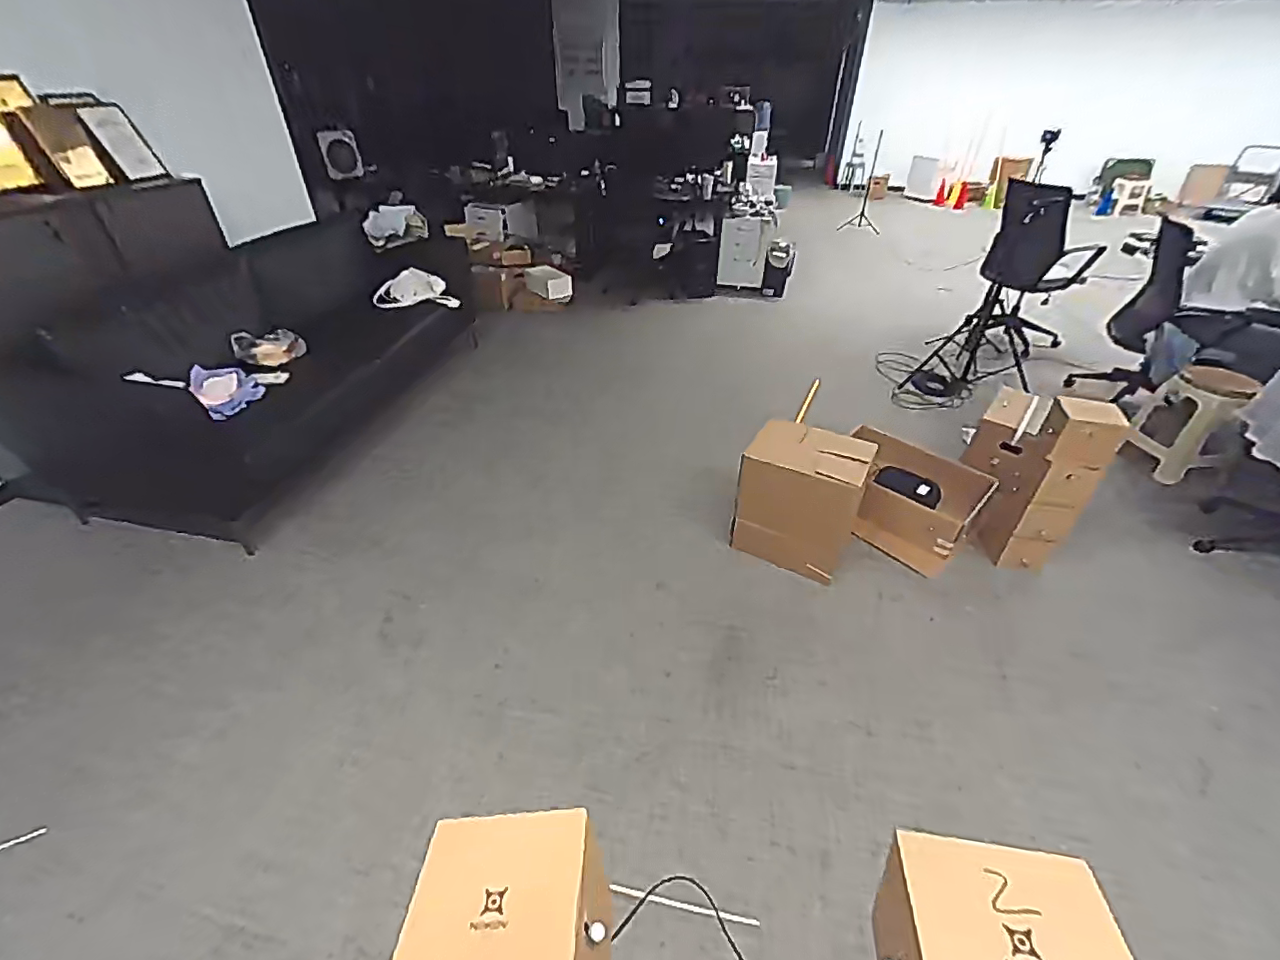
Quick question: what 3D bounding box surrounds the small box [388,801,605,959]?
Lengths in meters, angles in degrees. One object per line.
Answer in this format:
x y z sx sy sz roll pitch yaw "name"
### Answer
-0.131 0.464 0.549 0.168 0.176 0.179 -6 29 4 "small box"
